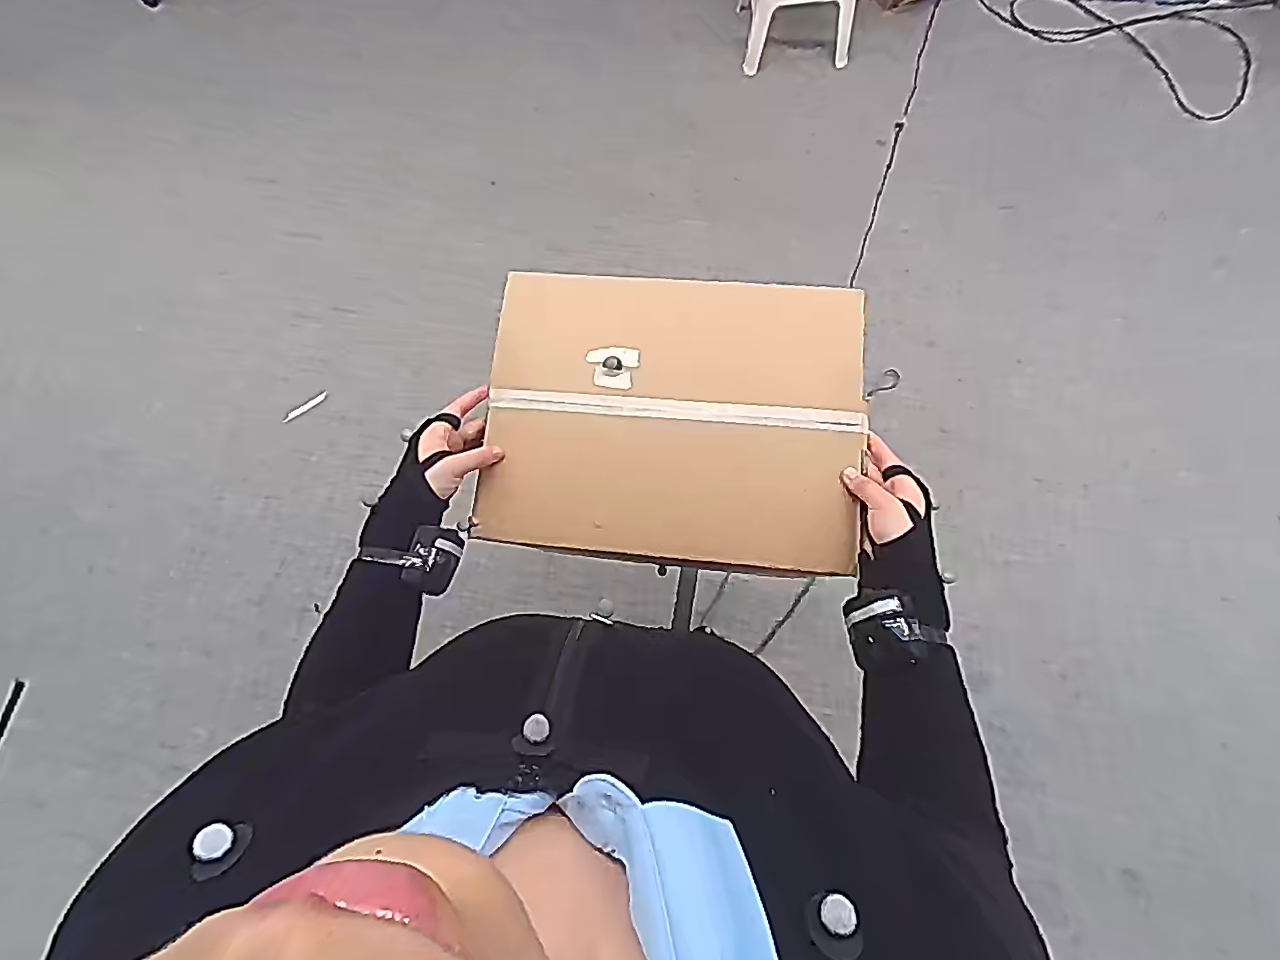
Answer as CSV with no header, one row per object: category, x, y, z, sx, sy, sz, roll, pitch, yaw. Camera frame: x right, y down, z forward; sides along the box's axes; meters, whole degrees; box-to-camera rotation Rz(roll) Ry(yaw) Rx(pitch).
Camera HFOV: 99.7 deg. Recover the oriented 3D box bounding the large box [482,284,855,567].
large box,0.048,-0.048,0.744,0.408,0.320,0.320,4,79,6
